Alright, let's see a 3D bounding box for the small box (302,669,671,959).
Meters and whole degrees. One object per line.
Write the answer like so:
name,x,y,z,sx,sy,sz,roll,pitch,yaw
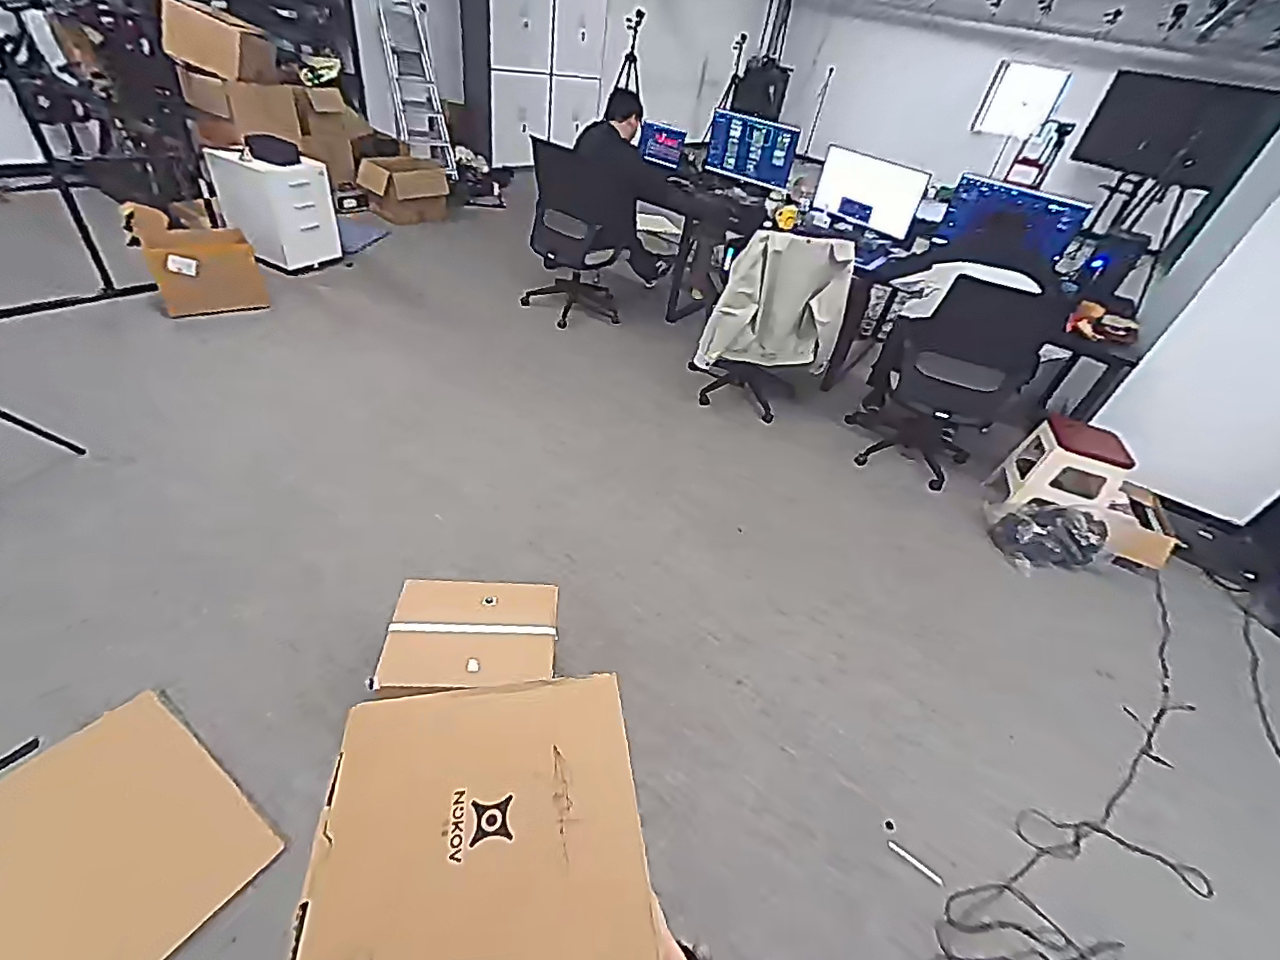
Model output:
small box,-0.089,0.252,0.355,0.179,0.176,0.168,-3,40,-12
